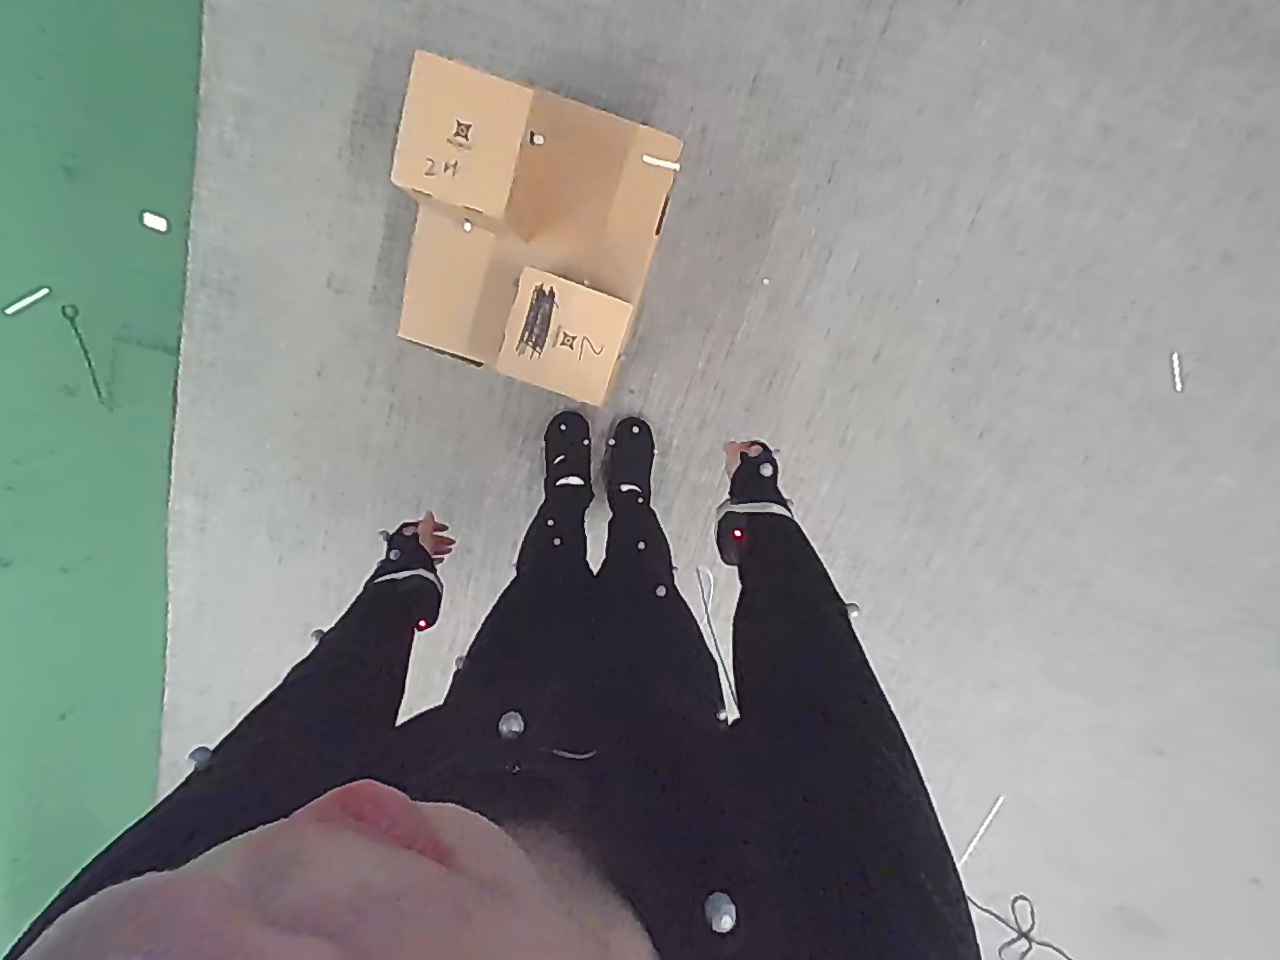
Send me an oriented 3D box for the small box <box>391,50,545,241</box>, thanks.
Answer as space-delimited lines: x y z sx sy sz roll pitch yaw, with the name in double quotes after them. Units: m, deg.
-0.251 -0.494 0.829 0.168 0.176 0.179 17 102 -5 "small box"
